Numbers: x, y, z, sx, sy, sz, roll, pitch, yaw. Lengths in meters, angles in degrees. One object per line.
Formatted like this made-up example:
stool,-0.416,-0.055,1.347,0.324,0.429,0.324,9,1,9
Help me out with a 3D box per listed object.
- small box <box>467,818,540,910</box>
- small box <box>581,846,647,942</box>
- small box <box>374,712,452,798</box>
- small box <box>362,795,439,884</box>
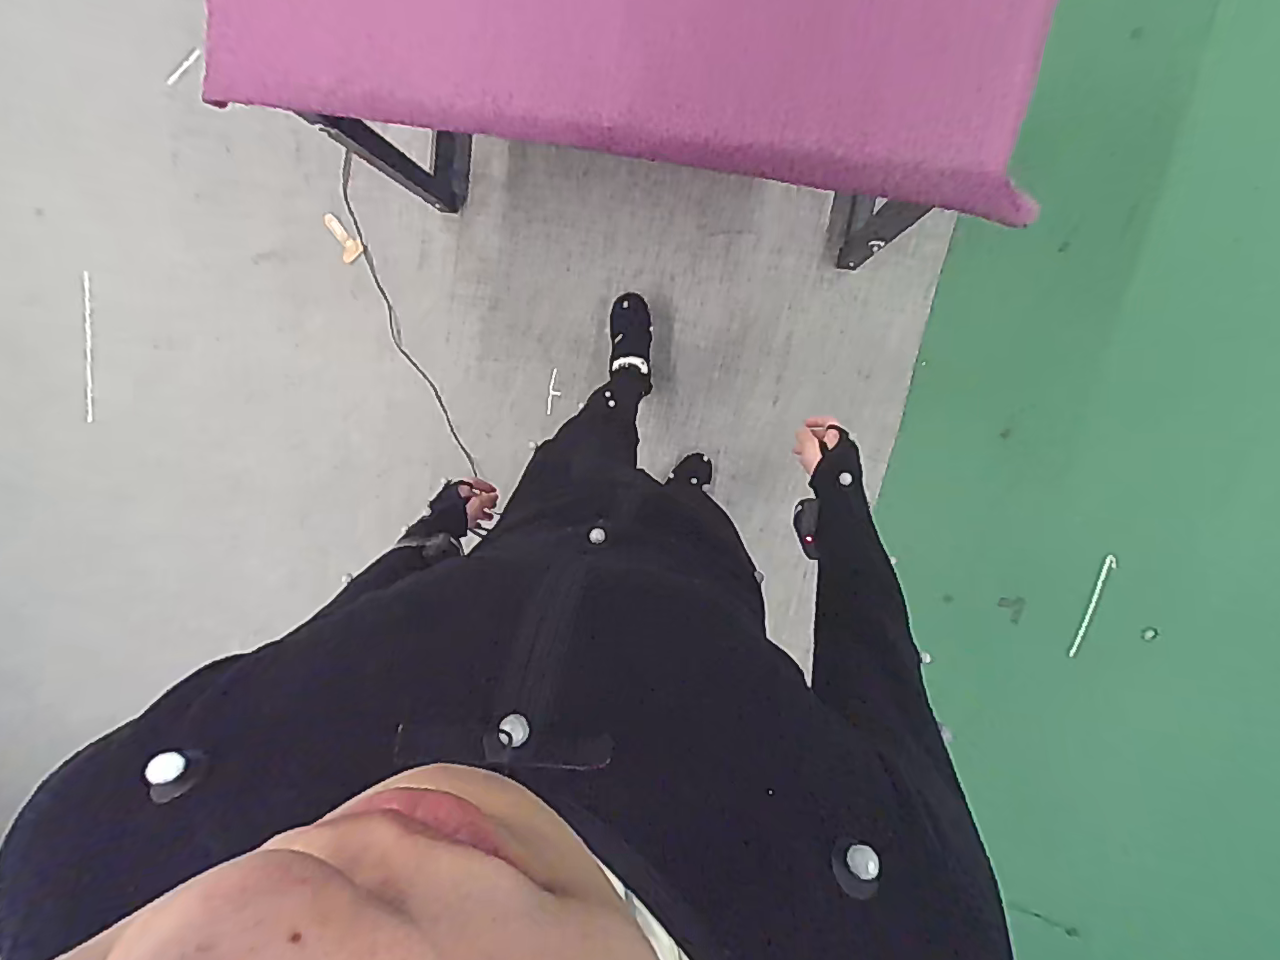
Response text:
small box,-0.447,1.264,1.793,0.179,0.176,0.168,12,102,3
small box,-0.079,1.347,1.770,0.179,0.176,0.168,15,101,2
small box,-0.731,0.885,1.757,0.179,0.176,0.168,11,101,5
small box,-0.798,1.198,1.814,0.179,0.176,0.168,11,100,4
